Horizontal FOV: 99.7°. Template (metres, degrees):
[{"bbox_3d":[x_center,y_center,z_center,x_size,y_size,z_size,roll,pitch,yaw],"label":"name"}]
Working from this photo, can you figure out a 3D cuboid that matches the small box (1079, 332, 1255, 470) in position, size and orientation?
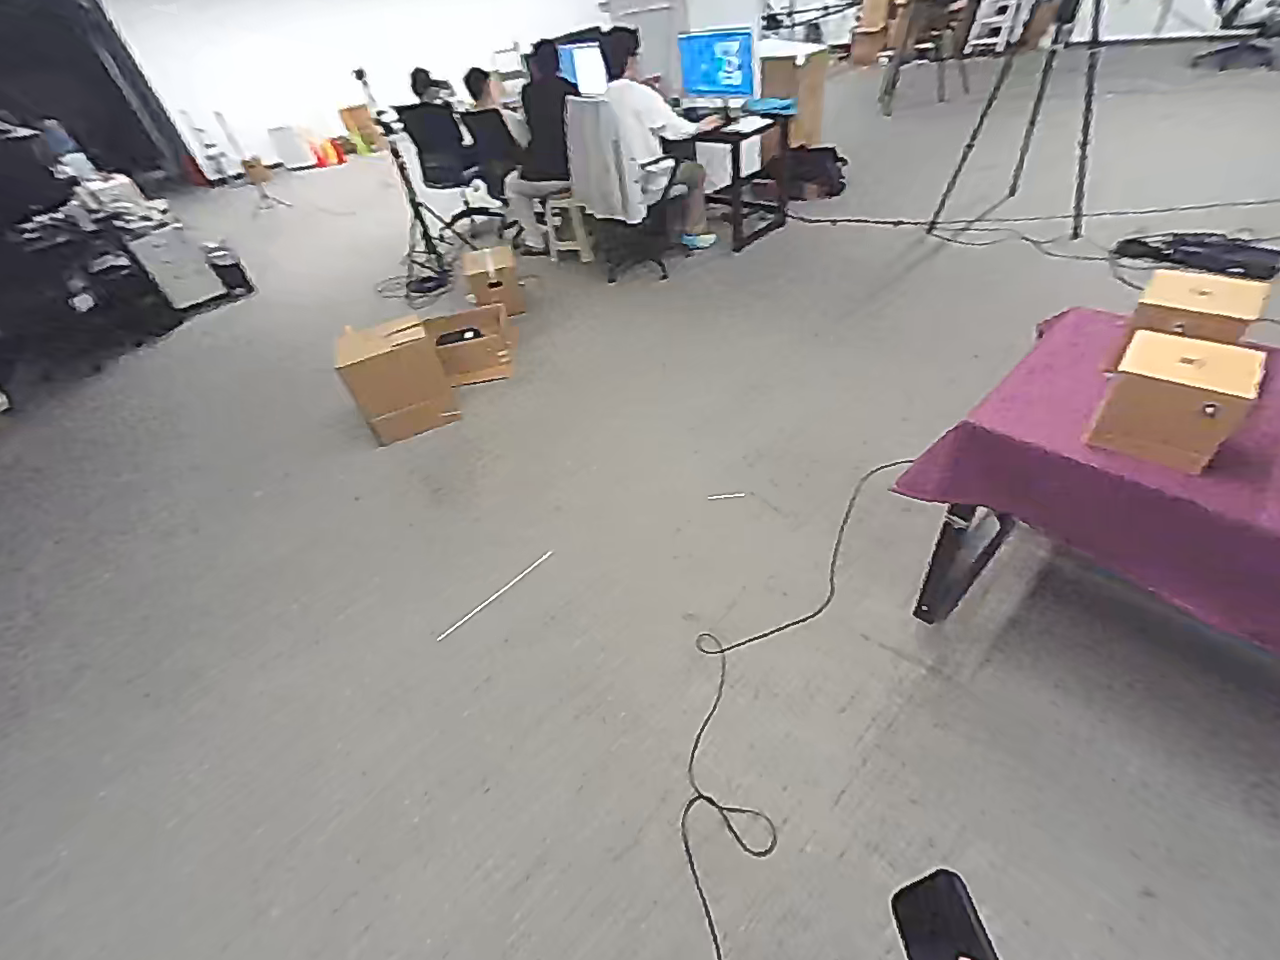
[{"bbox_3d":[0.957,-0.145,0.996,0.179,0.176,0.168,28,54,33],"label":"small box"}]
